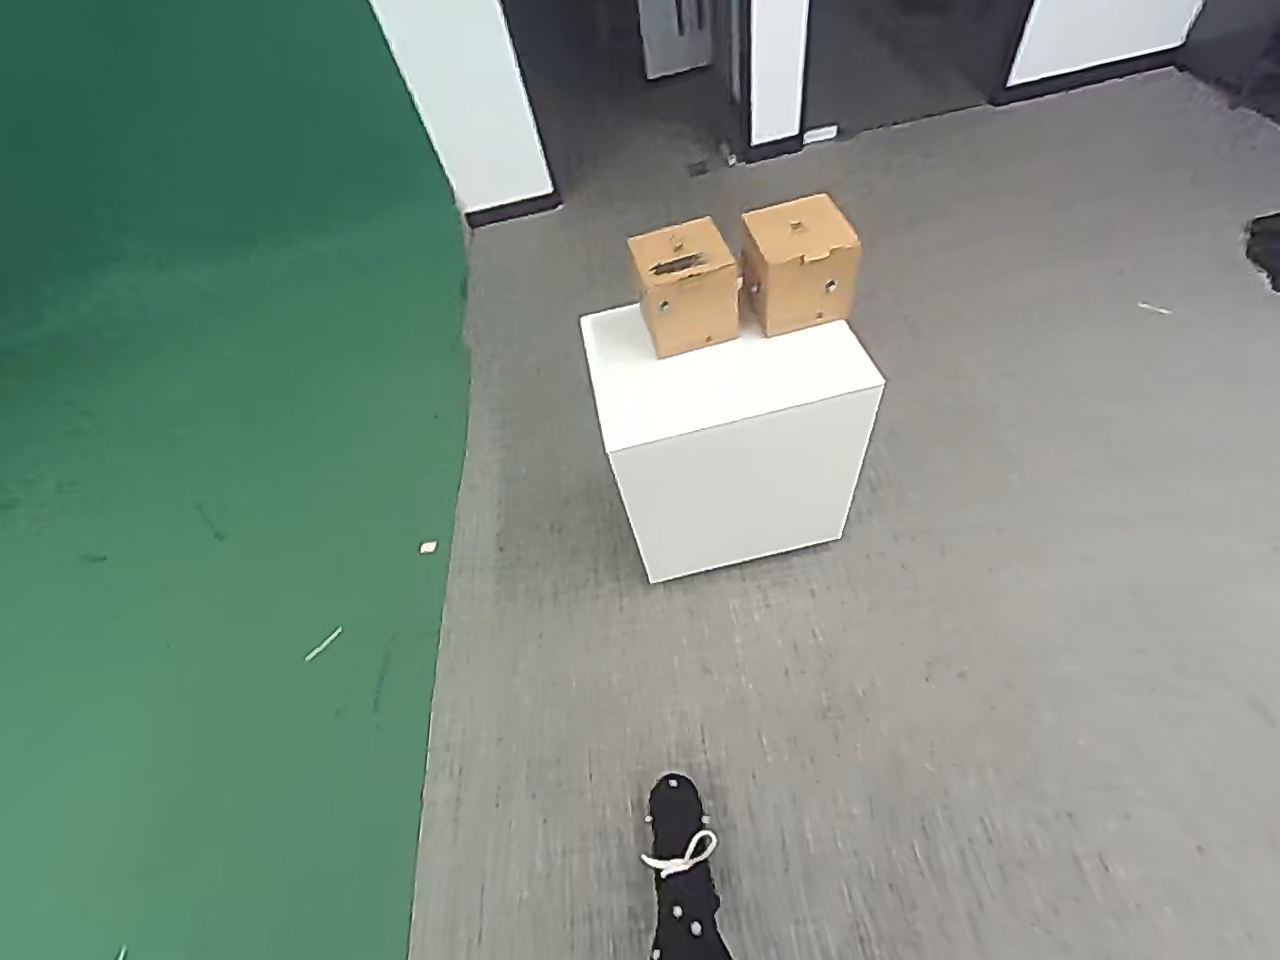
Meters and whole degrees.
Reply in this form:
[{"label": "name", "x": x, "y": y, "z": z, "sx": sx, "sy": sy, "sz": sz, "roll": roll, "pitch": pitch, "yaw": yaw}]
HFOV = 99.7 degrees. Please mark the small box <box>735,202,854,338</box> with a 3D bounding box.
[{"label": "small box", "x": 0.289, "y": -0.395, "z": 1.041, "sx": 0.168, "sy": 0.176, "sz": 0.179, "roll": -14, "pitch": 53, "yaw": 0}]
